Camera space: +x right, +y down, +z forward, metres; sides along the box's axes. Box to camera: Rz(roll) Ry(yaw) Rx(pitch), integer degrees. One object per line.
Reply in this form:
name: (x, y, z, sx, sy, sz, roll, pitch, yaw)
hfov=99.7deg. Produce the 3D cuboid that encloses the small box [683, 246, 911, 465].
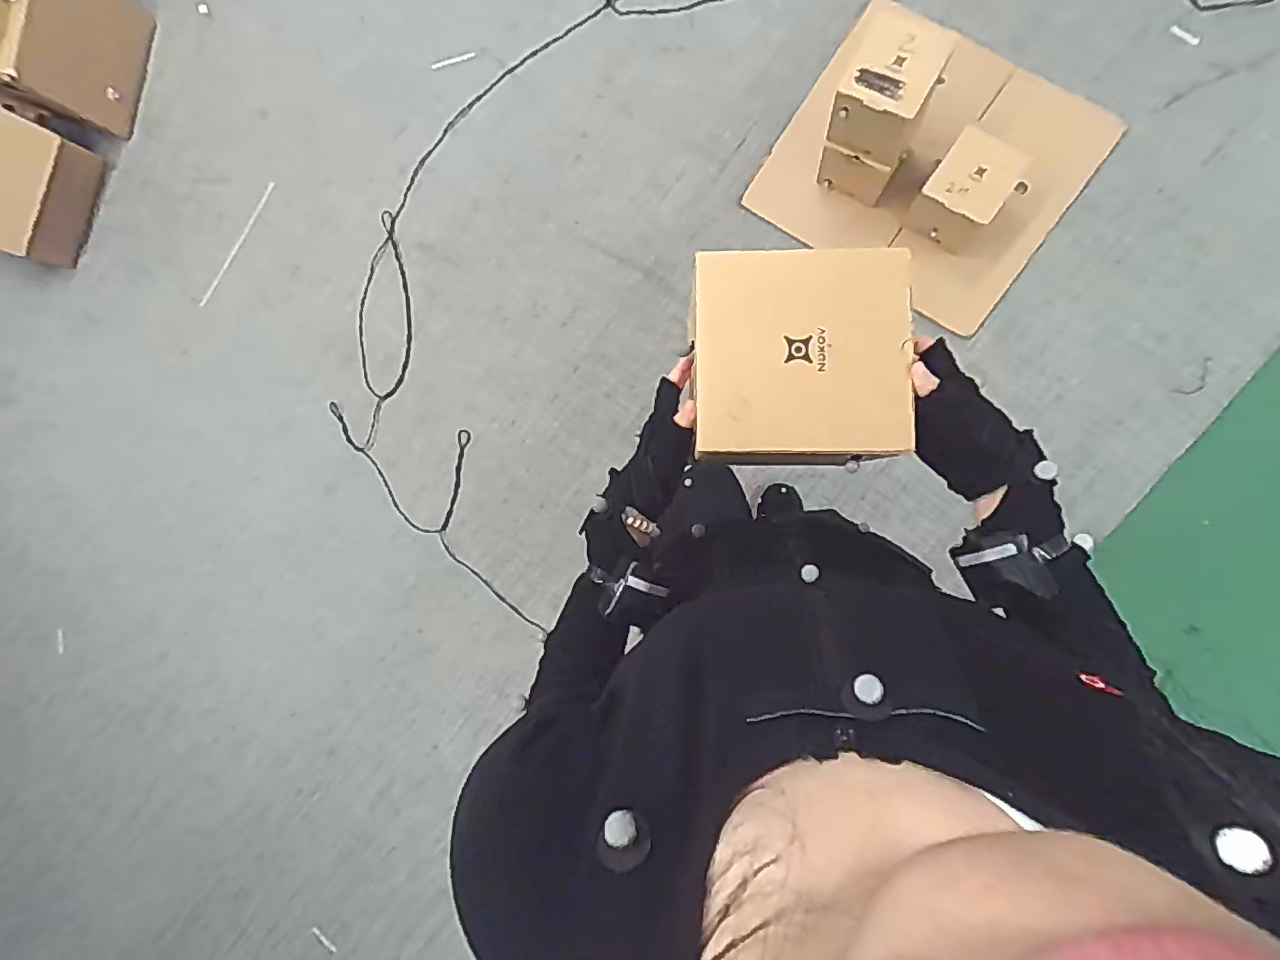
small box: (0.131, -0.102, 0.512, 0.179, 0.176, 0.168, 0, 88, 1)

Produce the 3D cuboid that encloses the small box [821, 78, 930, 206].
small box: (0.558, -0.806, 1.309, 0.168, 0.176, 0.179, 31, 96, 10)

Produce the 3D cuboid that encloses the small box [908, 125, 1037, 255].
small box: (0.765, -0.670, 1.270, 0.168, 0.176, 0.179, 36, 97, 10)
